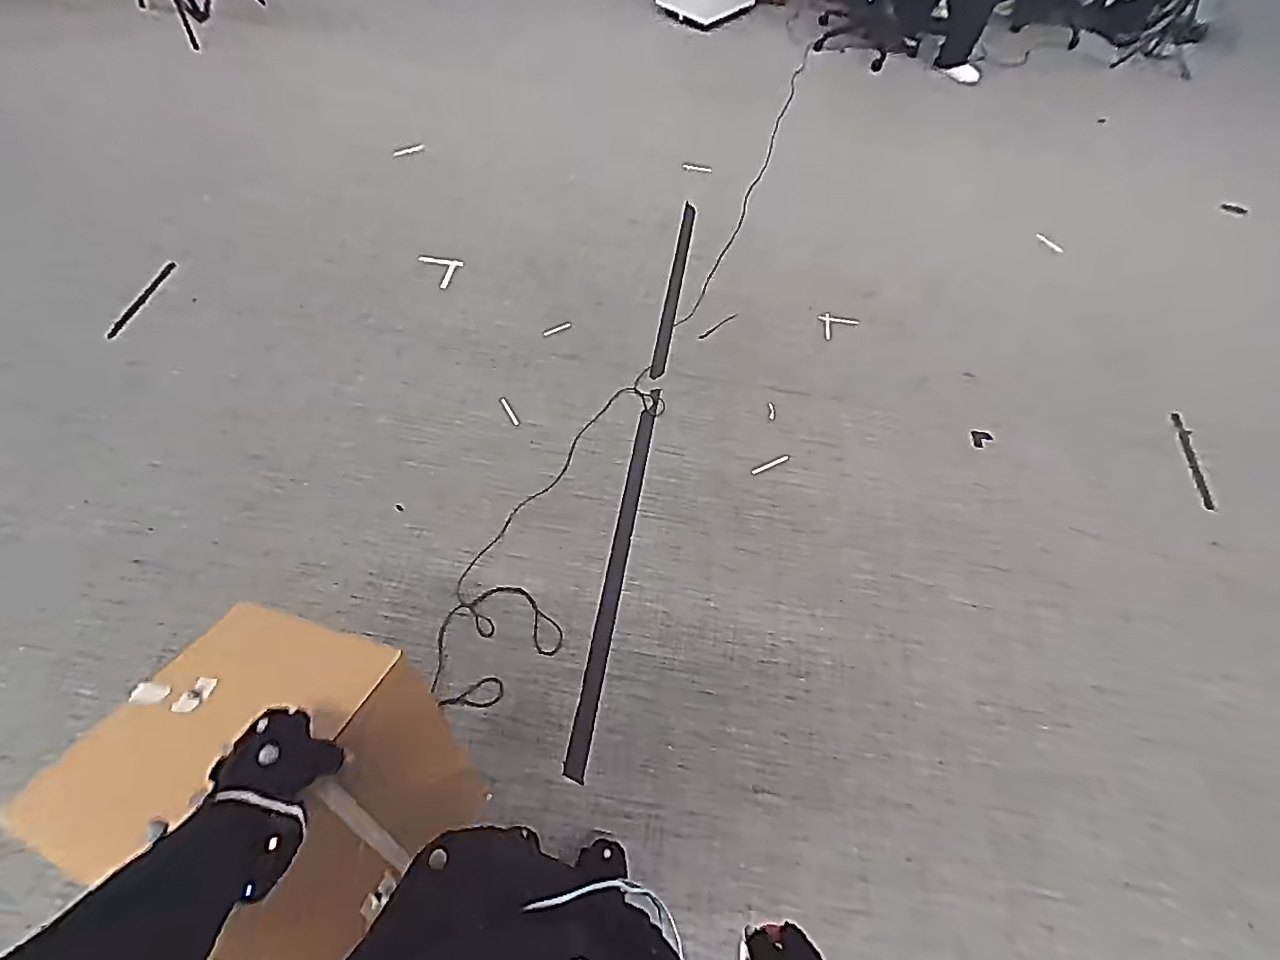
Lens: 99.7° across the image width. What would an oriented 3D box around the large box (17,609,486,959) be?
[{"bbox_3d":[-0.477,0.452,0.765,0.320,0.408,0.320,11,41,20],"label":"large box"}]
